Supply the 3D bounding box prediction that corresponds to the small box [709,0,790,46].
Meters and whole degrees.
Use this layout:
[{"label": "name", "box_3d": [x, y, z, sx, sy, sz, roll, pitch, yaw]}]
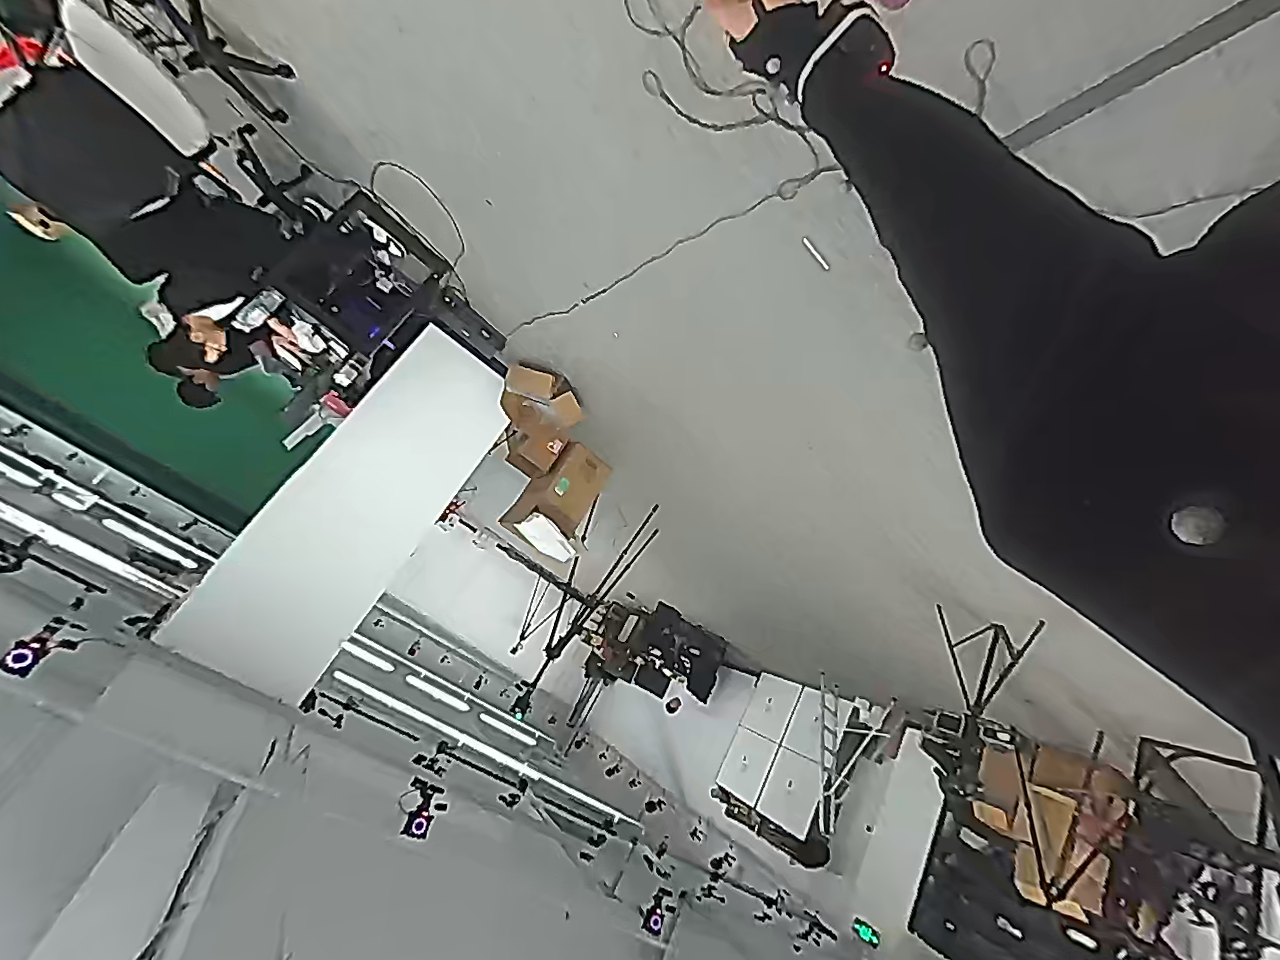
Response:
[{"label": "small box", "box_3d": [0.136, -0.589, 0.514, 0.168, 0.176, 0.179, 38, 158, -17]}]
